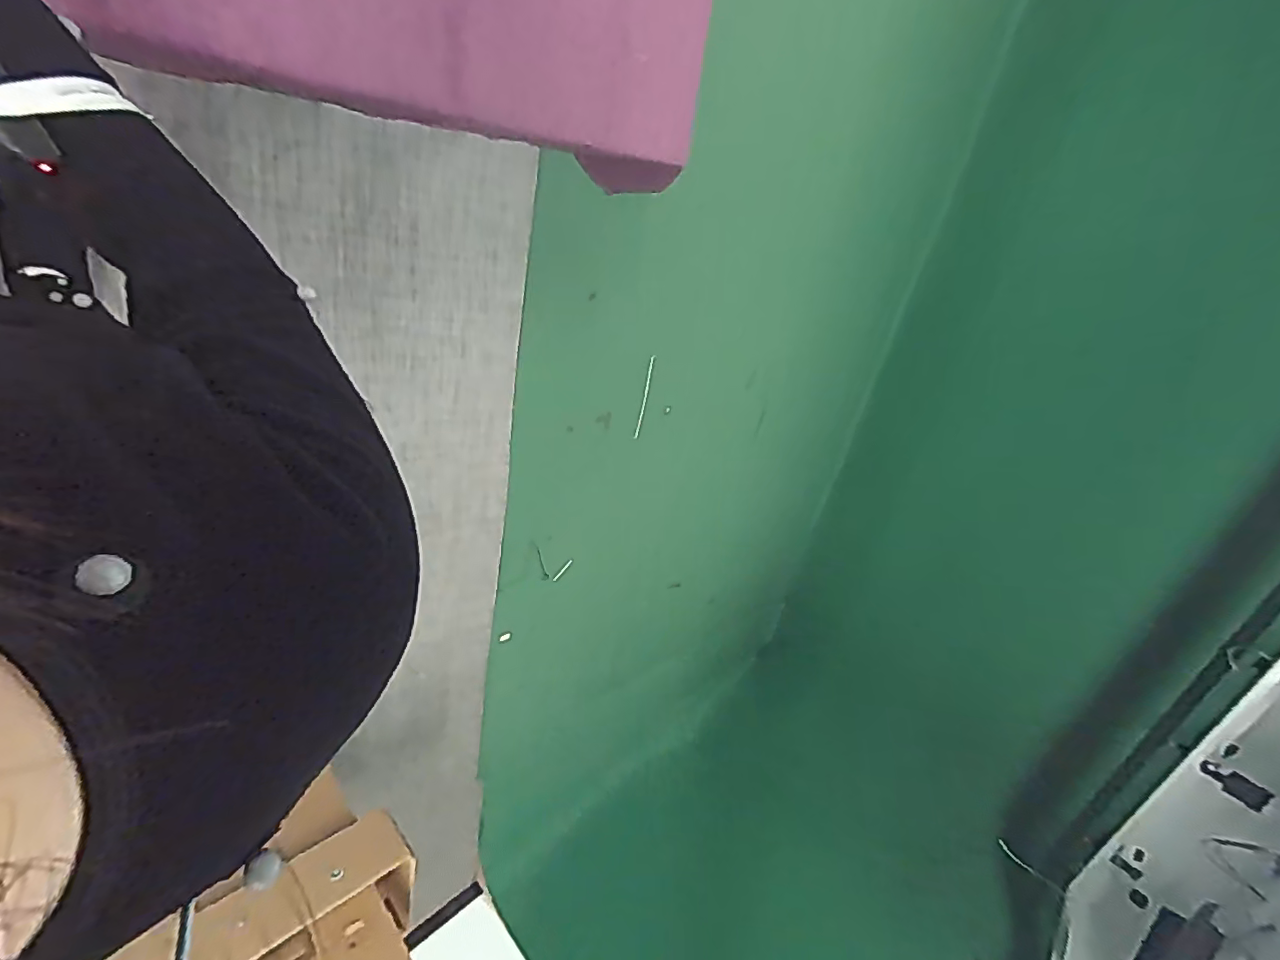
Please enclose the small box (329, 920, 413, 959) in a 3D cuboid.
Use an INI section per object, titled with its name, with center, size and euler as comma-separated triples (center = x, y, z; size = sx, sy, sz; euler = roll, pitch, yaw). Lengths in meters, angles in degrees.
[small box]
center = -0.704, 1.303, 1.402
size = 0.168, 0.176, 0.179
euler = -5, 120, -46
